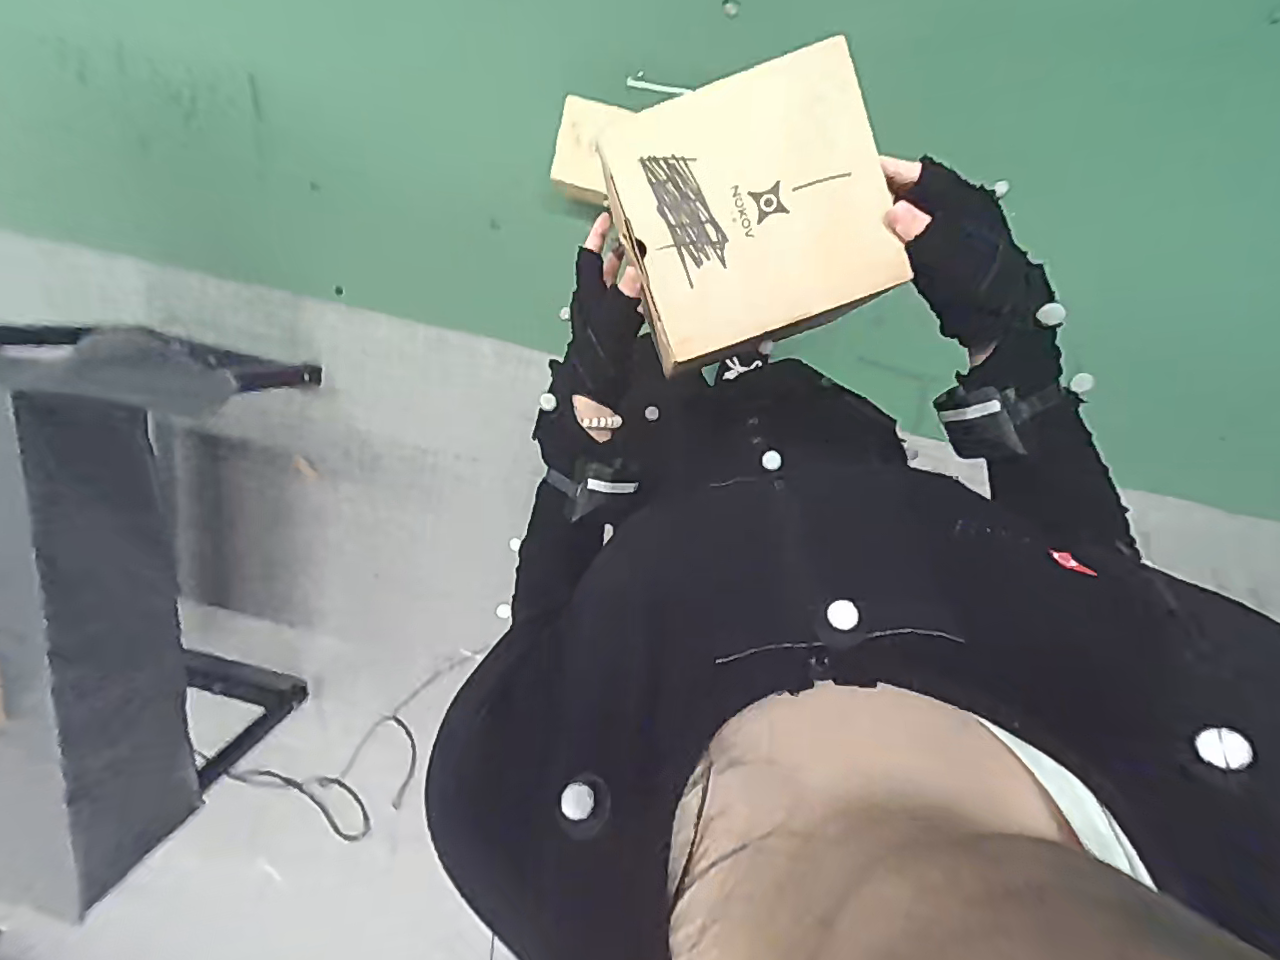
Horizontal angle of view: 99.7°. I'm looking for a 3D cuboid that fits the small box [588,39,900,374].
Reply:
[{"bbox_3d":[0.074,-0.196,0.448,0.179,0.176,0.168,-20,96,3],"label":"small box"}]
